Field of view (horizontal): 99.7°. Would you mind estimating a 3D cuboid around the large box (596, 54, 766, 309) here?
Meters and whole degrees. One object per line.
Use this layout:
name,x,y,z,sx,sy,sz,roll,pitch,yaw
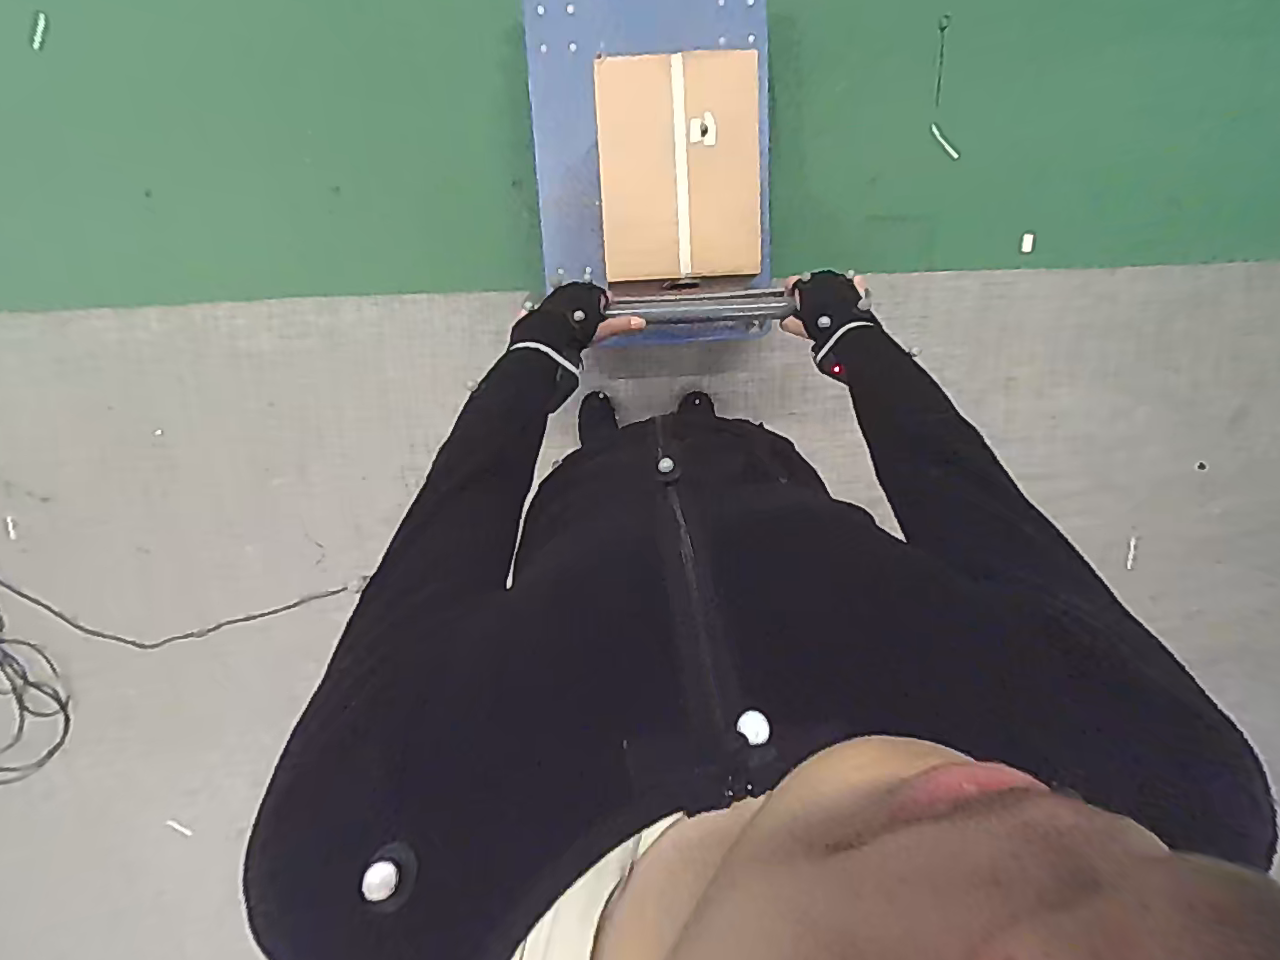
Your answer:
large box,0.081,-0.612,1.184,0.320,0.320,0.408,-3,99,-2
